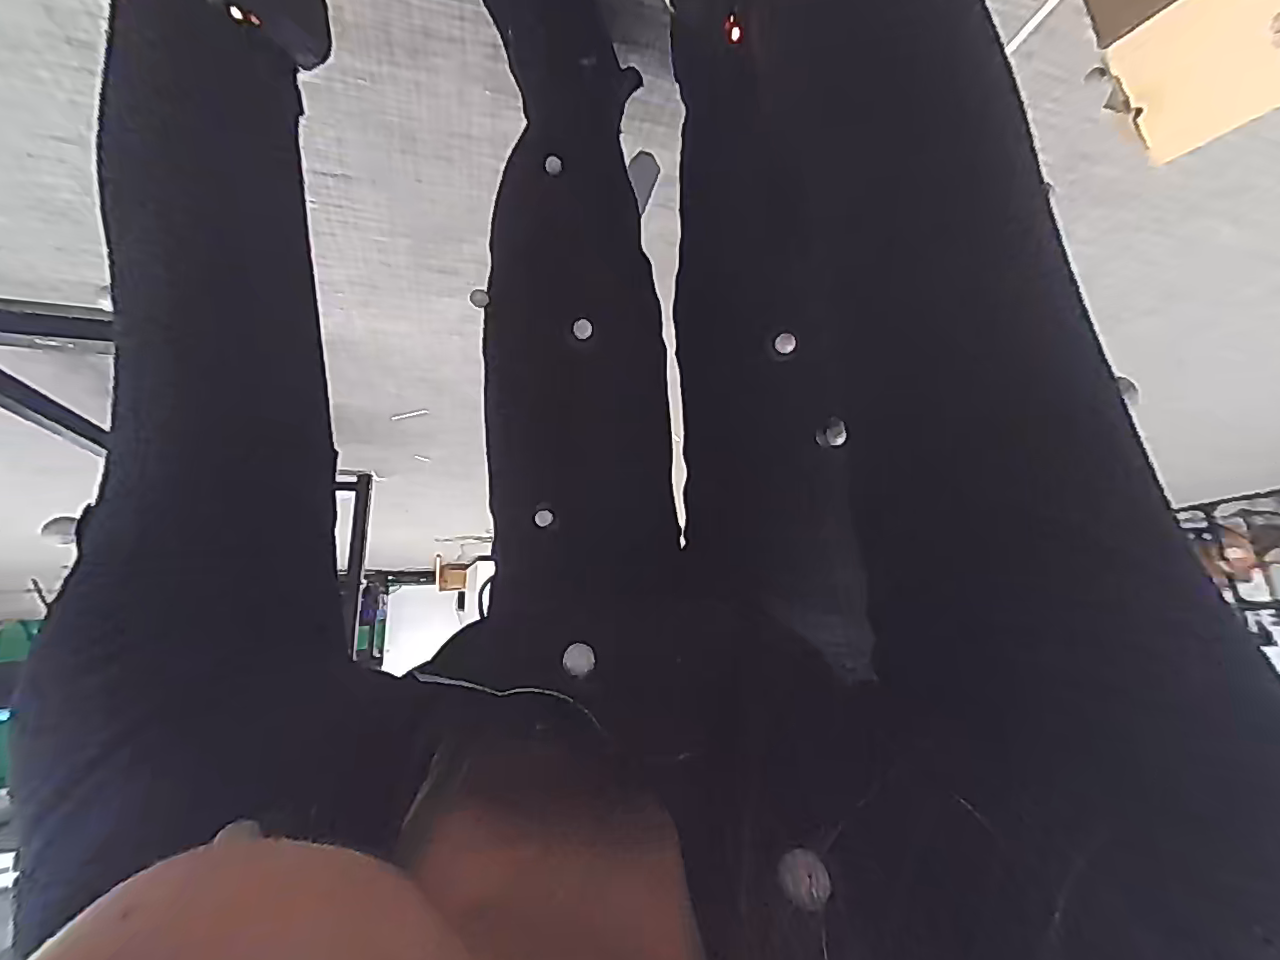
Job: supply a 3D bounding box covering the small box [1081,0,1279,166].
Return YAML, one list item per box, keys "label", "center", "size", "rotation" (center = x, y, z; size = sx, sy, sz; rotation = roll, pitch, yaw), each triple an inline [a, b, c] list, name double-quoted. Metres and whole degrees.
- label: "small box"
  center: [0.398, -0.359, 0.344]
  size: [0.168, 0.176, 0.179]
  rotation: [8, 161, -38]
